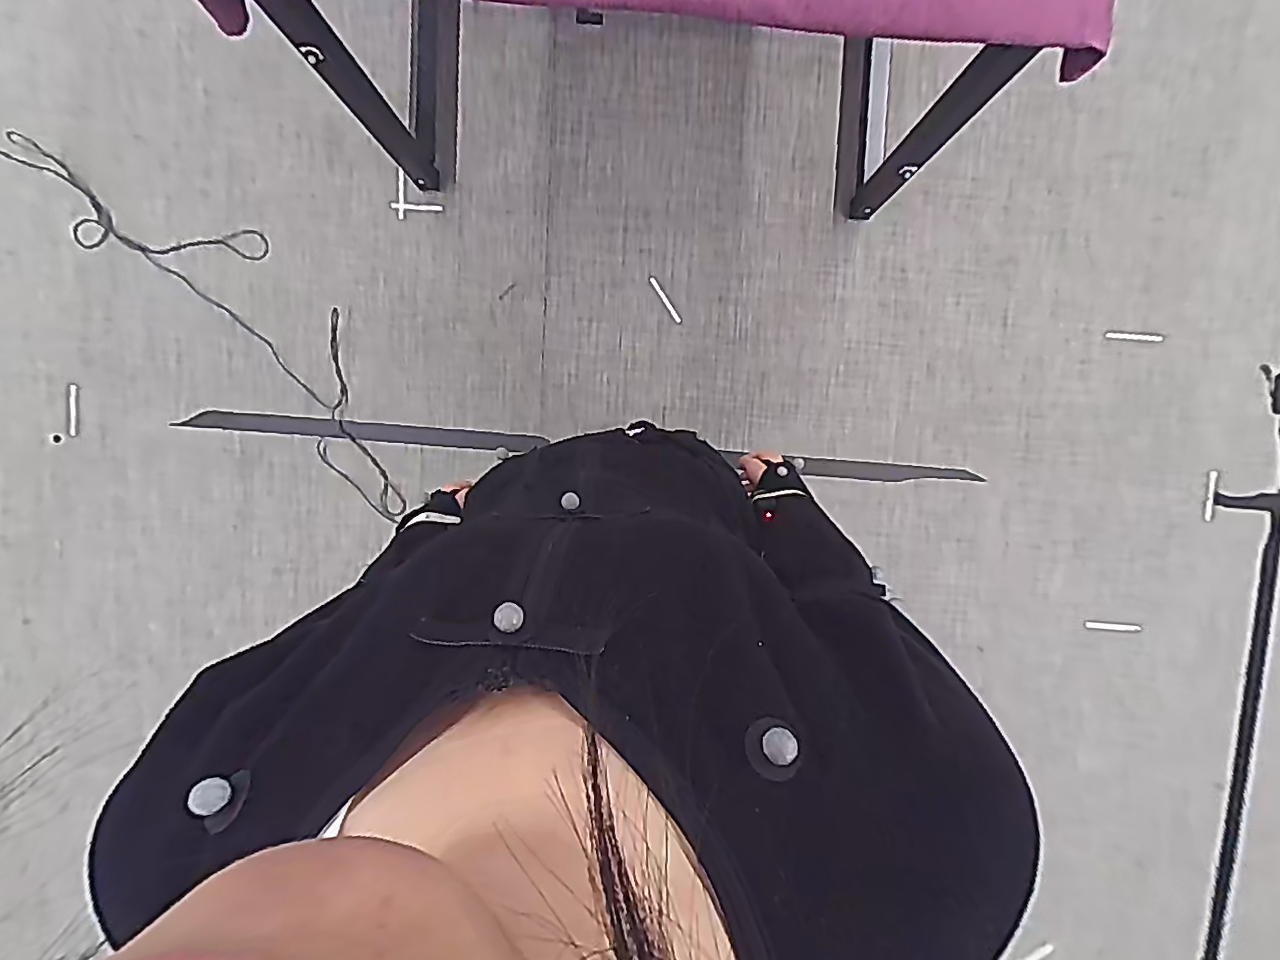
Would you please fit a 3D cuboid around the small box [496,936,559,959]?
[{"bbox_3d":[-0.308,1.389,1.462,0.168,0.176,0.179,-2,95,-1],"label":"small box"}]
